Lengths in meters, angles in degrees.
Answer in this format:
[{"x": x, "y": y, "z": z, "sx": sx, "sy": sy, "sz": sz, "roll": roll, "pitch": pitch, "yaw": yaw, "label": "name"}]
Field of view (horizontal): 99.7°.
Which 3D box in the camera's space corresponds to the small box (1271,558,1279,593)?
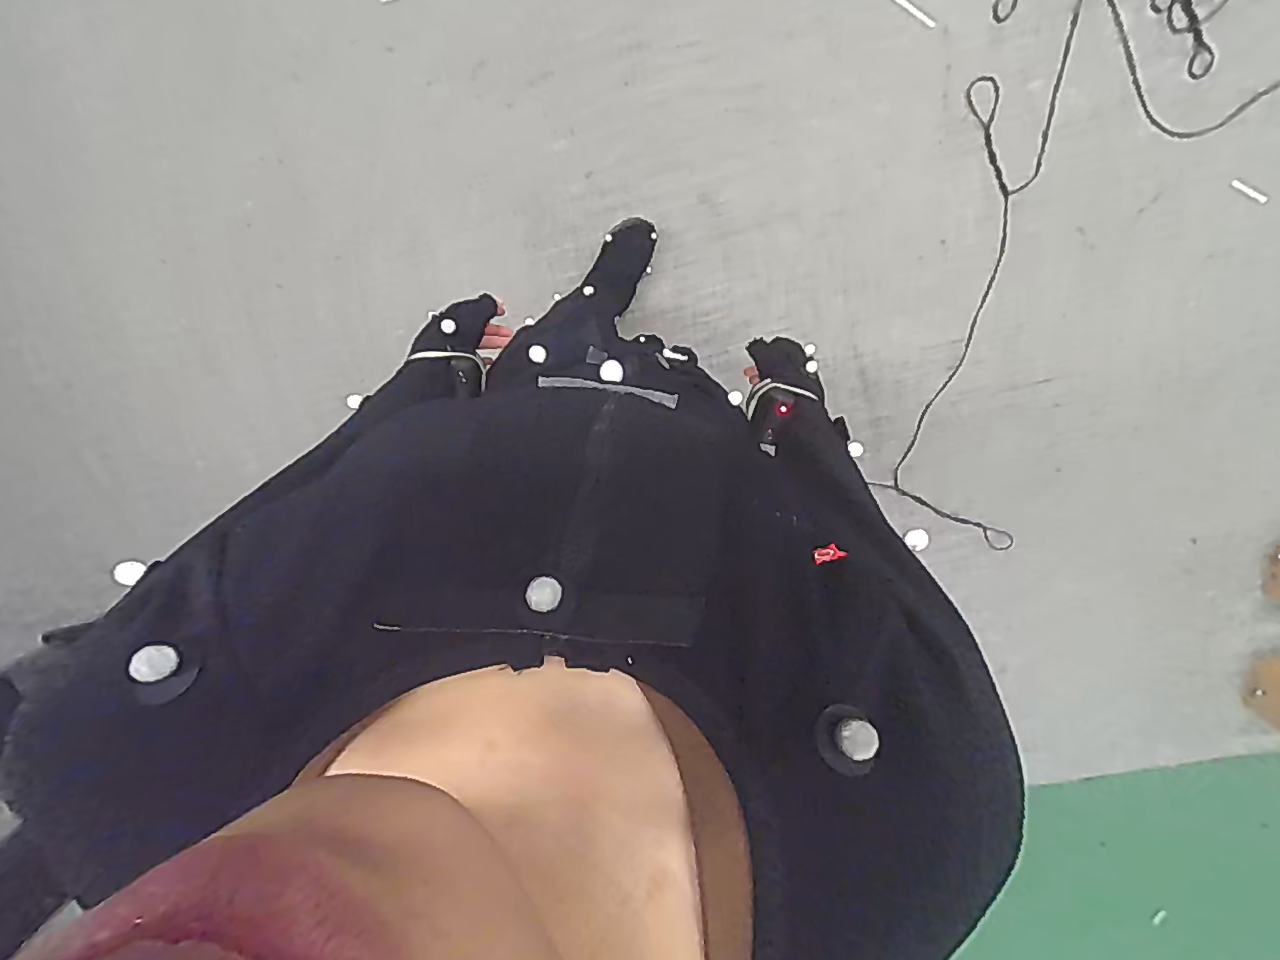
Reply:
[{"x": 1.819, "y": 0.246, "z": 1.397, "sx": 0.179, "sy": 0.176, "sz": 0.168, "roll": -6, "pitch": 108, "yaw": 4, "label": "small box"}]
